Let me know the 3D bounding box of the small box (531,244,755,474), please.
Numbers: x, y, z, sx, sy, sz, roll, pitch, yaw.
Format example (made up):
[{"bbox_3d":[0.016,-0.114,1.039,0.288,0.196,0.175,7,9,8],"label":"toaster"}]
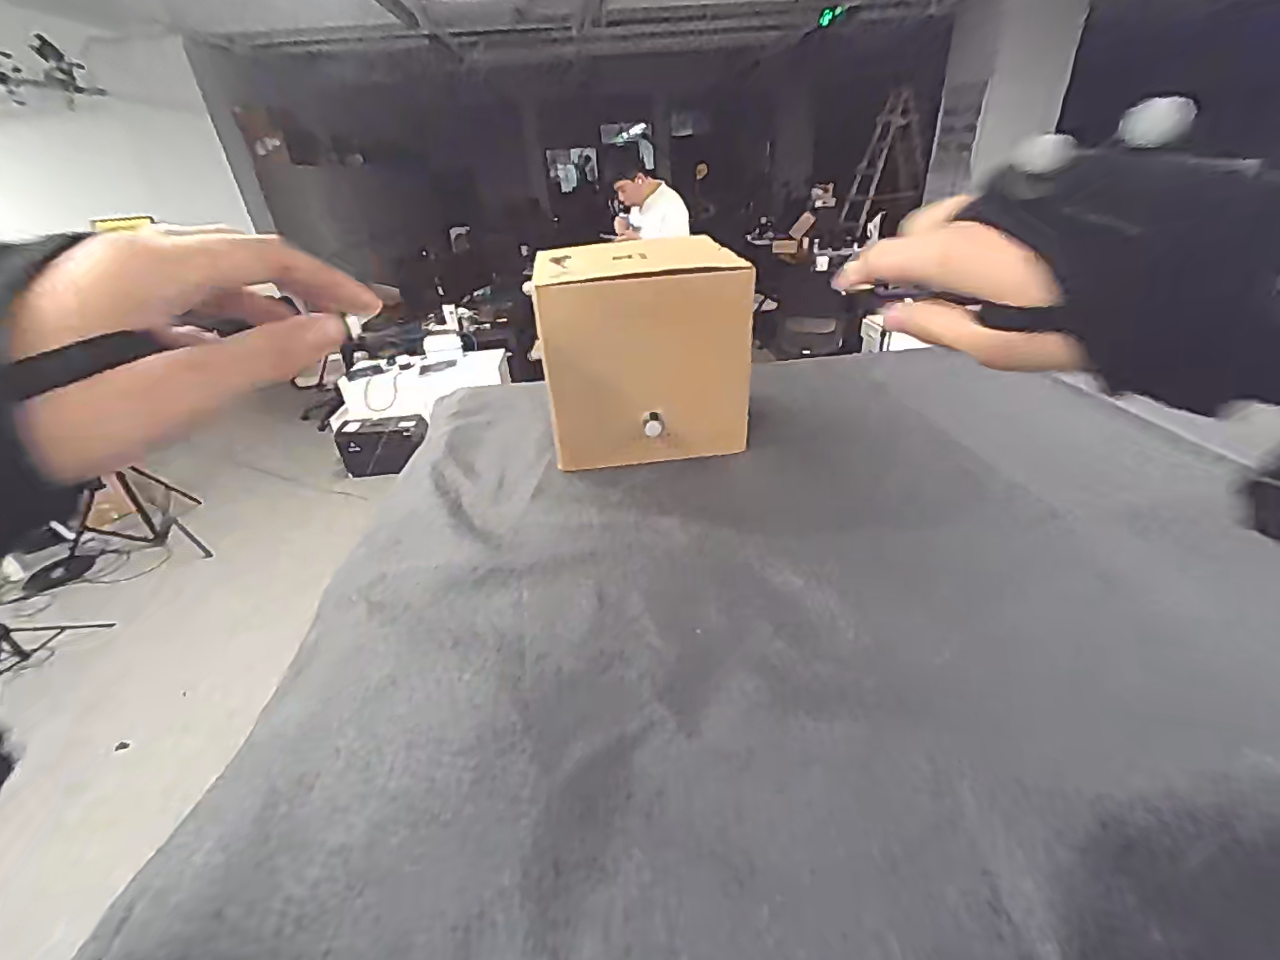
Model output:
[{"bbox_3d":[-0.002,-0.121,0.521,0.179,0.176,0.168,-6,31,-5],"label":"small box"}]
